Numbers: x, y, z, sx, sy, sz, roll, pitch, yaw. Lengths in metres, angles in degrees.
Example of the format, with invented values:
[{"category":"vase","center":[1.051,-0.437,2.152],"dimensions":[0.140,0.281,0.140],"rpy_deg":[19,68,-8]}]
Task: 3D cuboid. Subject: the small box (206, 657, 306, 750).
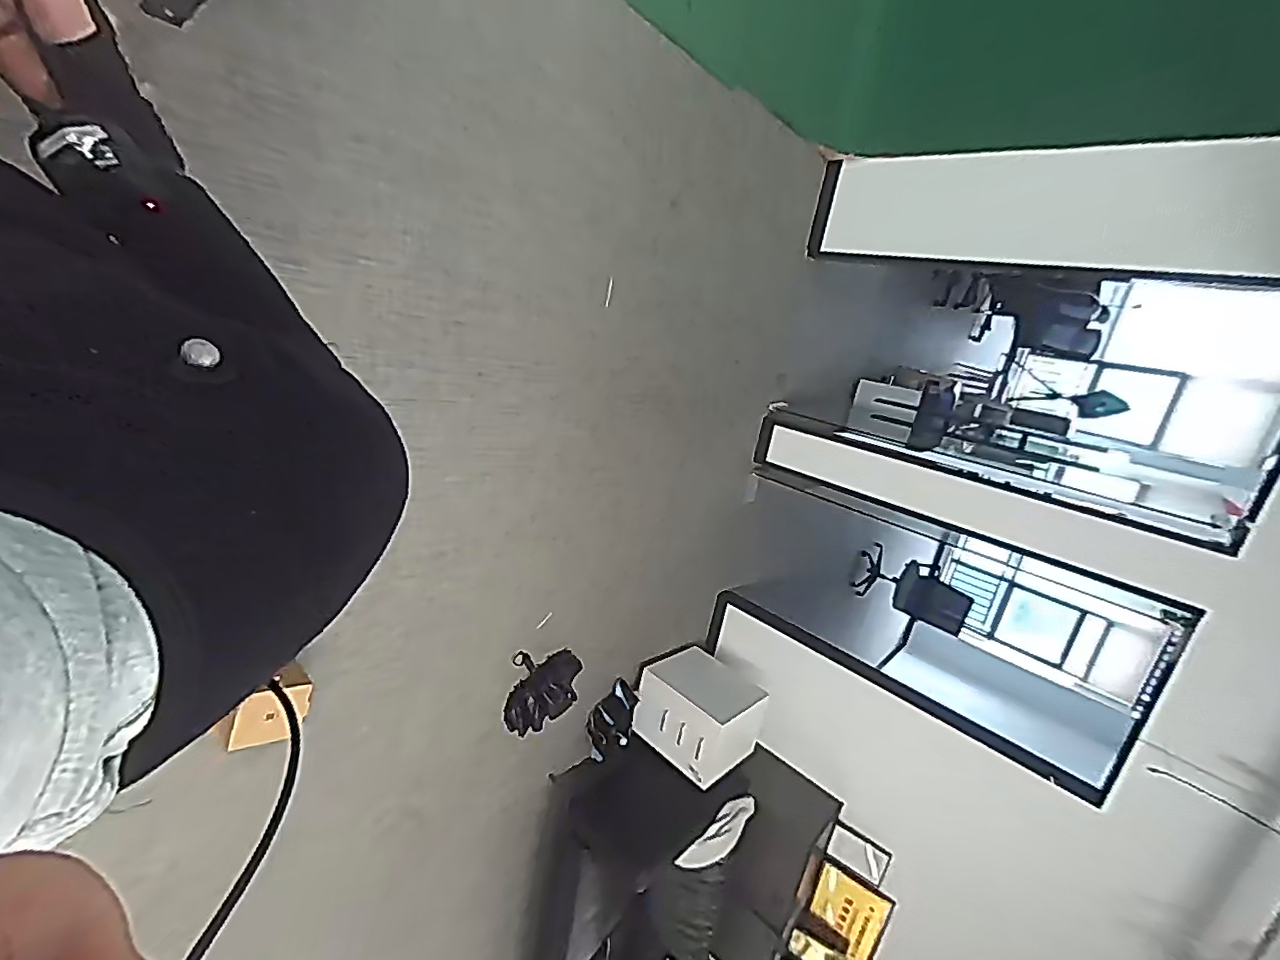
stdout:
[{"category":"small box","center":[-1.081,0.617,1.521],"dimensions":[0.179,0.176,0.168],"rpy_deg":[10,99,-52]}]
